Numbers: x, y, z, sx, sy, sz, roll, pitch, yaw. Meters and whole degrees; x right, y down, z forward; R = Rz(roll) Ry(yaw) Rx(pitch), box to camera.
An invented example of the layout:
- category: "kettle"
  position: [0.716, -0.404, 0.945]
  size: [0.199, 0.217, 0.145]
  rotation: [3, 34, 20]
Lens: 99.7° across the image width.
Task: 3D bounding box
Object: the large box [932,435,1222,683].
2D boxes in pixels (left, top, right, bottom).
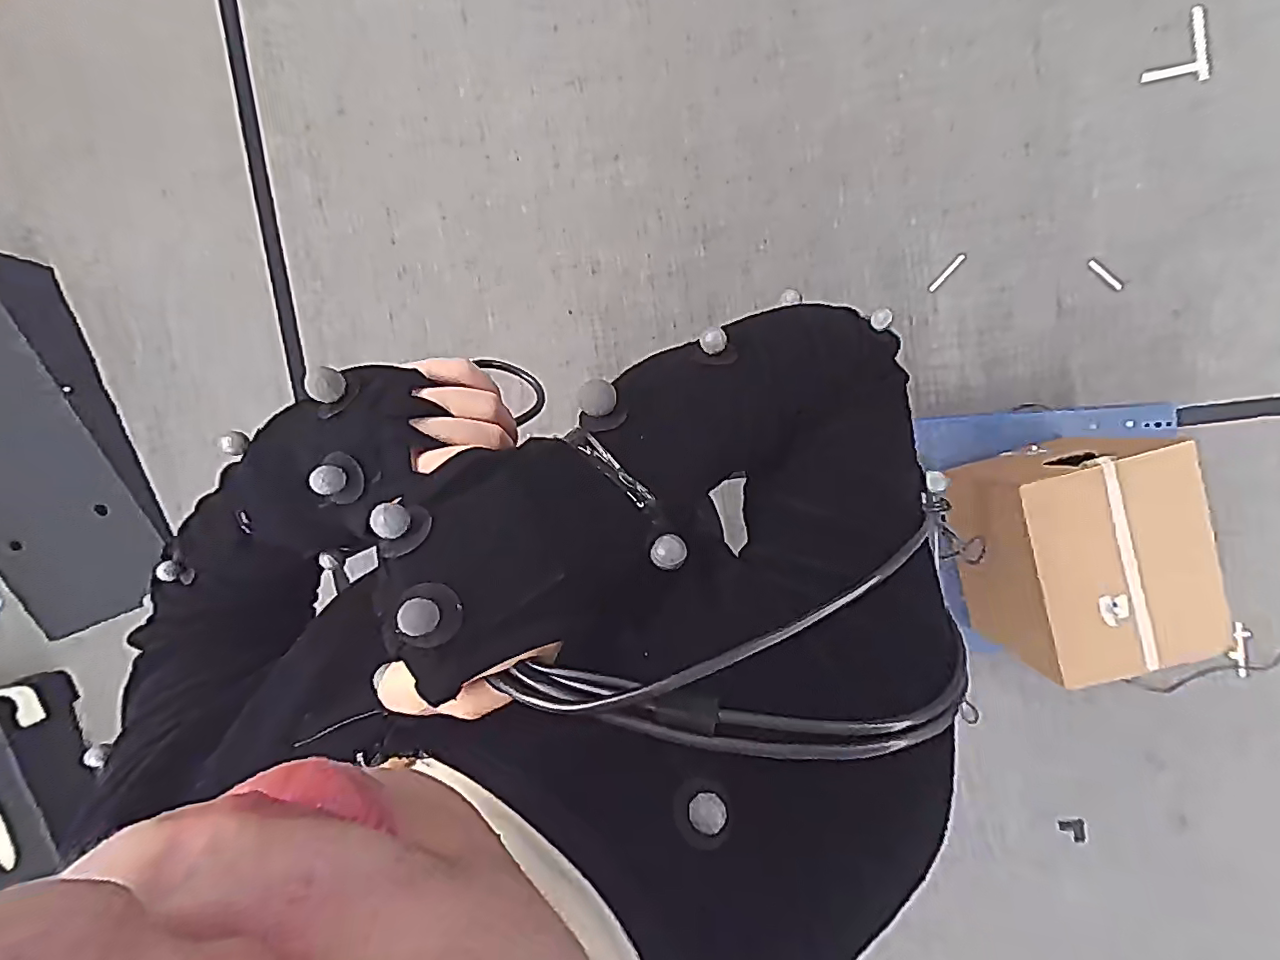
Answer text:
- category: "large box"
  position: [0.878, 0.139, 1.135]
  size: [0.320, 0.320, 0.408]
  rotation: [-15, 95, 4]
